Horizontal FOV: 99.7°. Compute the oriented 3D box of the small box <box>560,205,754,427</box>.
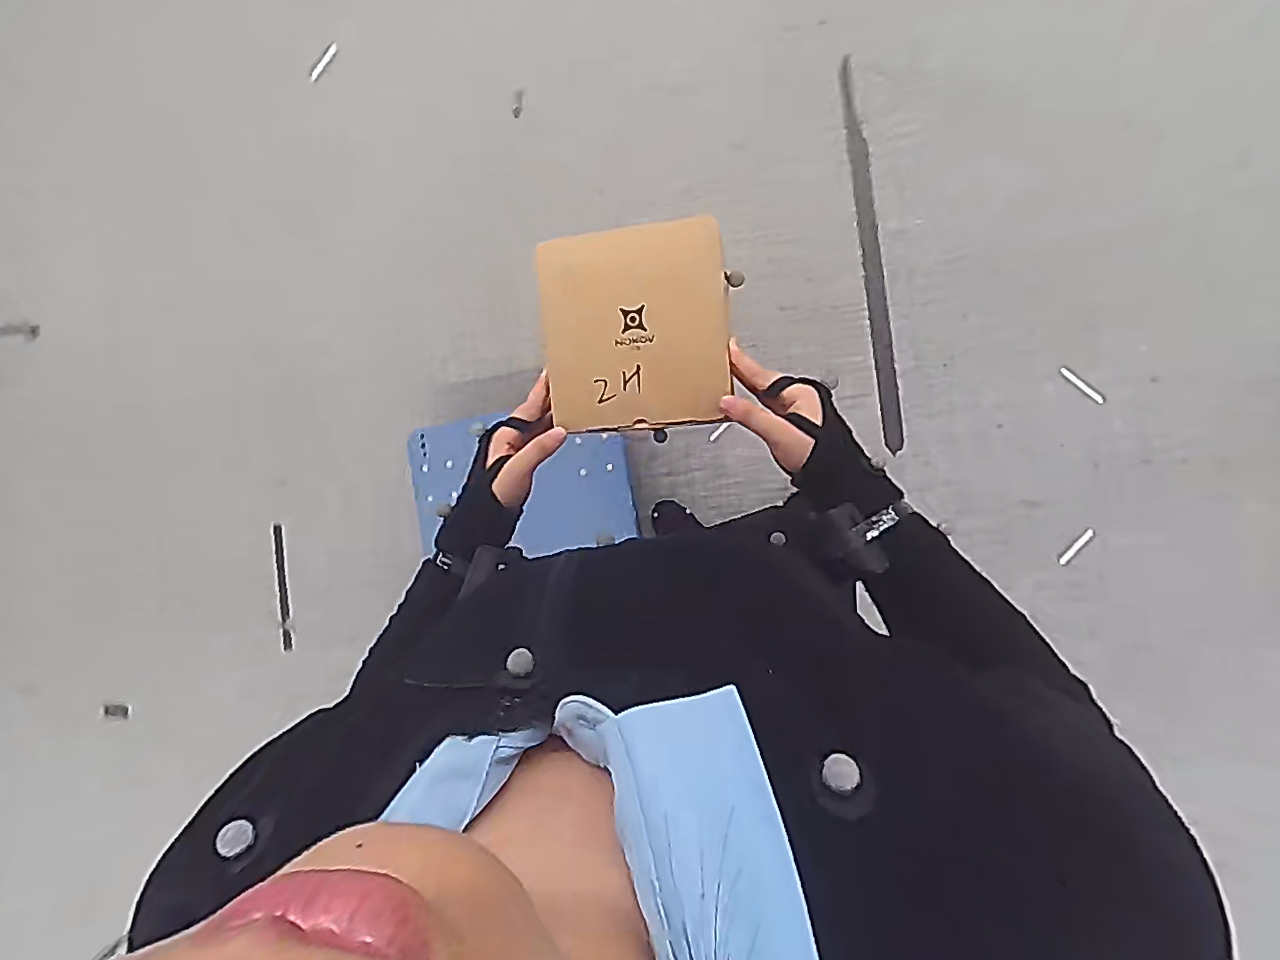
[{"bbox_3d":[0.027,-0.146,0.545,0.168,0.176,0.179,-2,95,12],"label":"small box"}]
